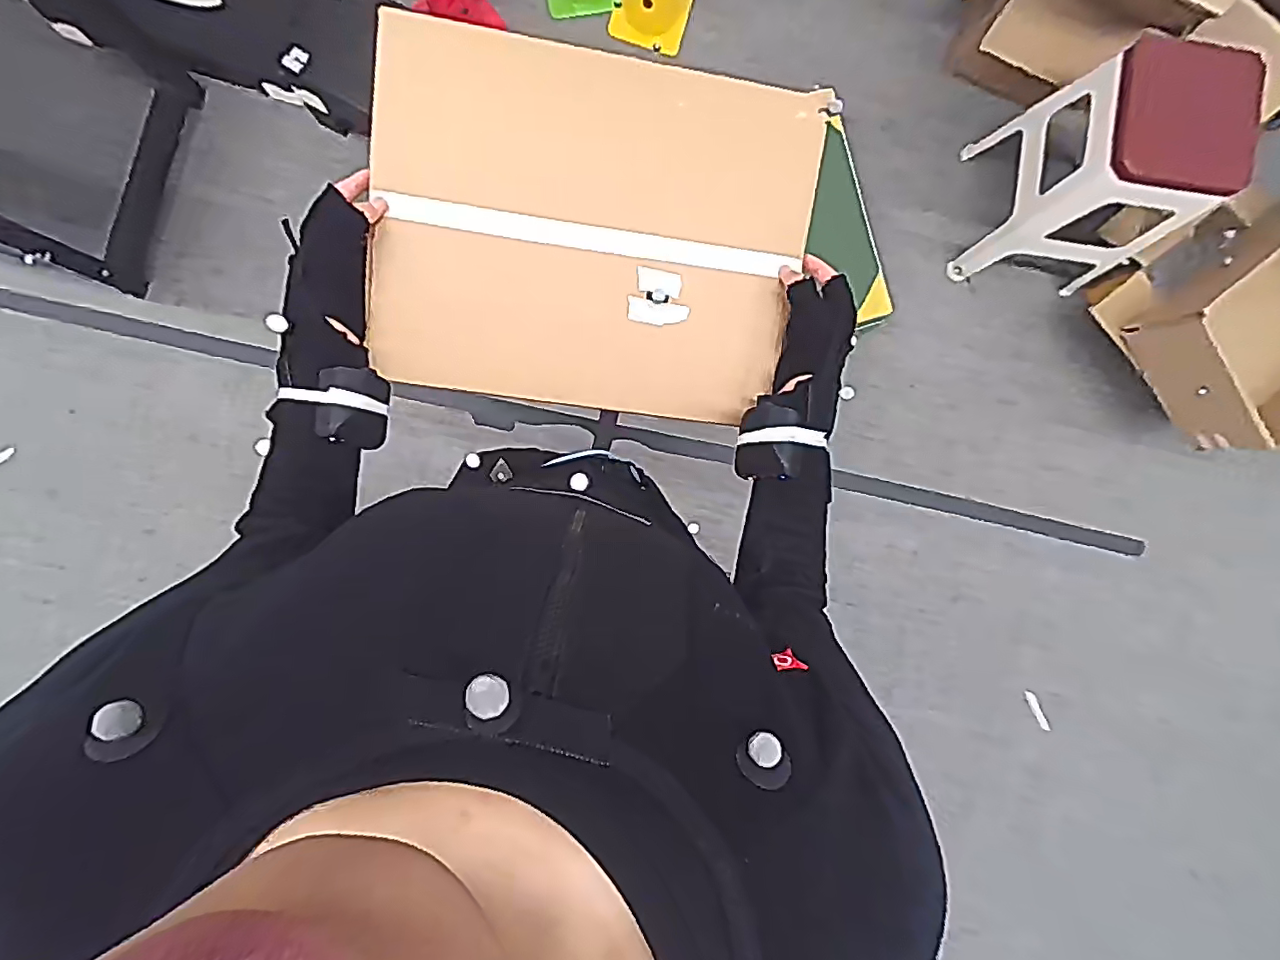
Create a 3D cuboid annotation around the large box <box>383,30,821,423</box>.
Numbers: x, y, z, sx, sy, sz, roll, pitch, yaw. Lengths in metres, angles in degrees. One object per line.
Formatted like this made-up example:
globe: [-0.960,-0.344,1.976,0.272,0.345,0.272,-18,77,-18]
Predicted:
large box: [-0.054,-0.257,0.670,0.408,0.320,0.320,7,101,-7]
